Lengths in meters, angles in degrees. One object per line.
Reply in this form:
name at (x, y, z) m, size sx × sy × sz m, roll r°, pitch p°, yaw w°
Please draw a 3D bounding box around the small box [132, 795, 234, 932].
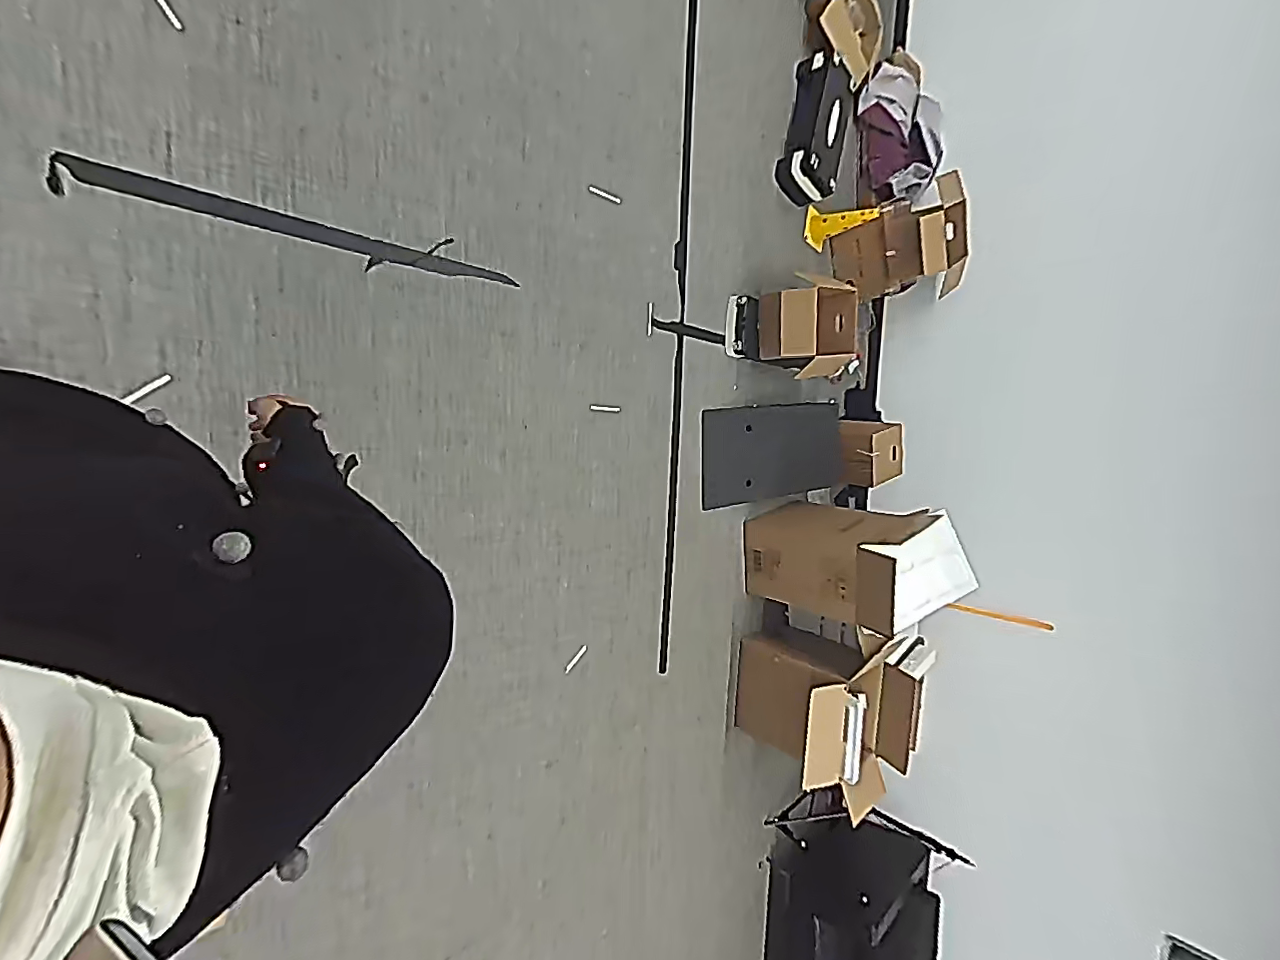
small box at (-1.084, 0.894, 1.281) m, size 0.179 × 0.176 × 0.168 m, roll -1°, pitch 97°, yaw -46°
